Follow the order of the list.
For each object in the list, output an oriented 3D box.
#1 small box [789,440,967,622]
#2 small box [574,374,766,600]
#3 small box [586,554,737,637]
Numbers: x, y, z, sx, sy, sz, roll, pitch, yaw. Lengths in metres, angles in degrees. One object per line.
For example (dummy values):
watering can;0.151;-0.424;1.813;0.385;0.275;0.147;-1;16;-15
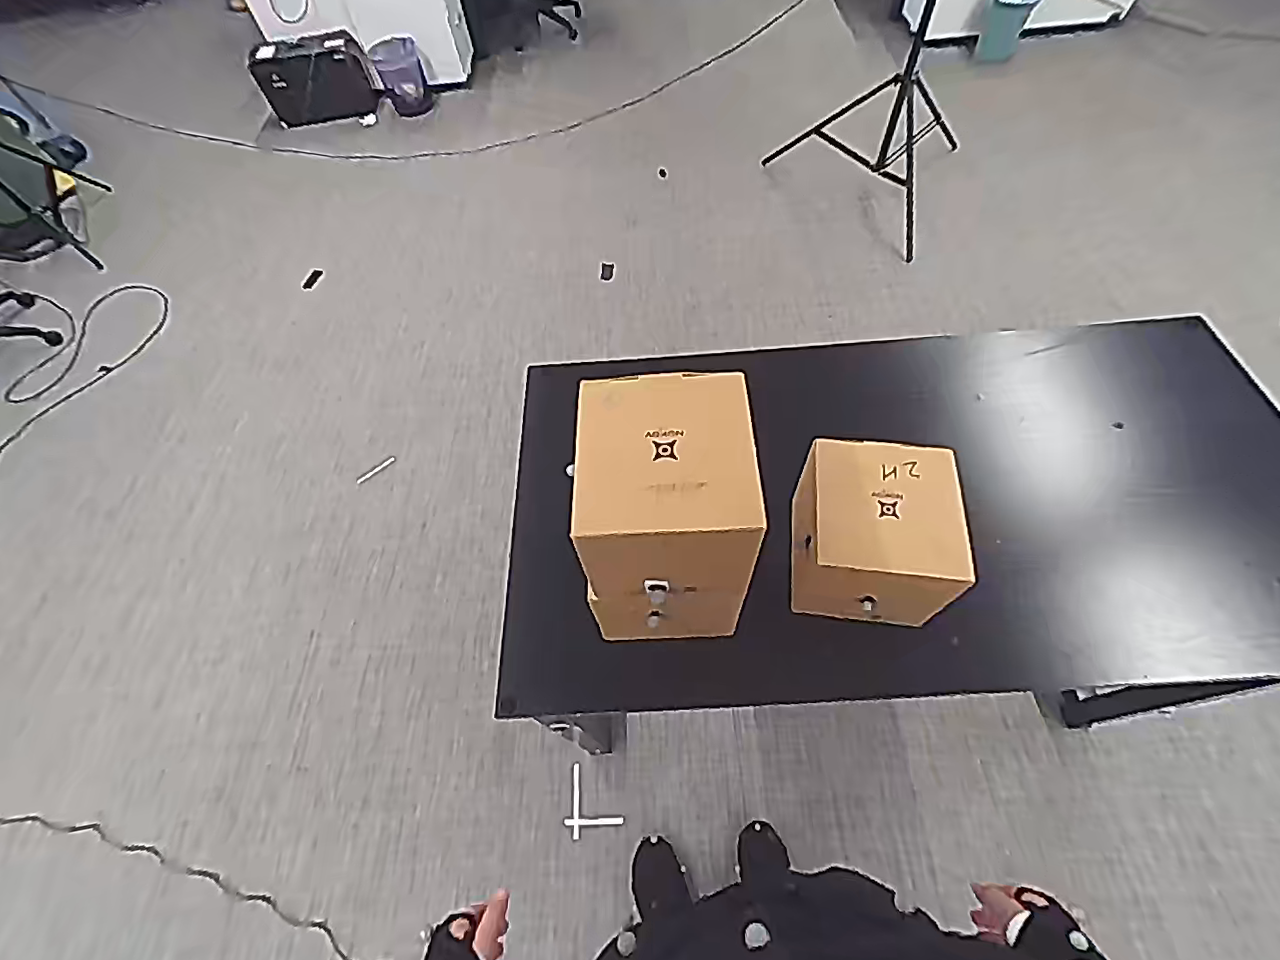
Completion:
small box;0.292;0.071;0.702;0.168;0.176;0.179;6;59;7
small box;0.029;0.013;0.567;0.168;0.176;0.179;-3;59;3
small box;0.032;0.101;0.706;0.179;0.176;0.168;-4;58;3
